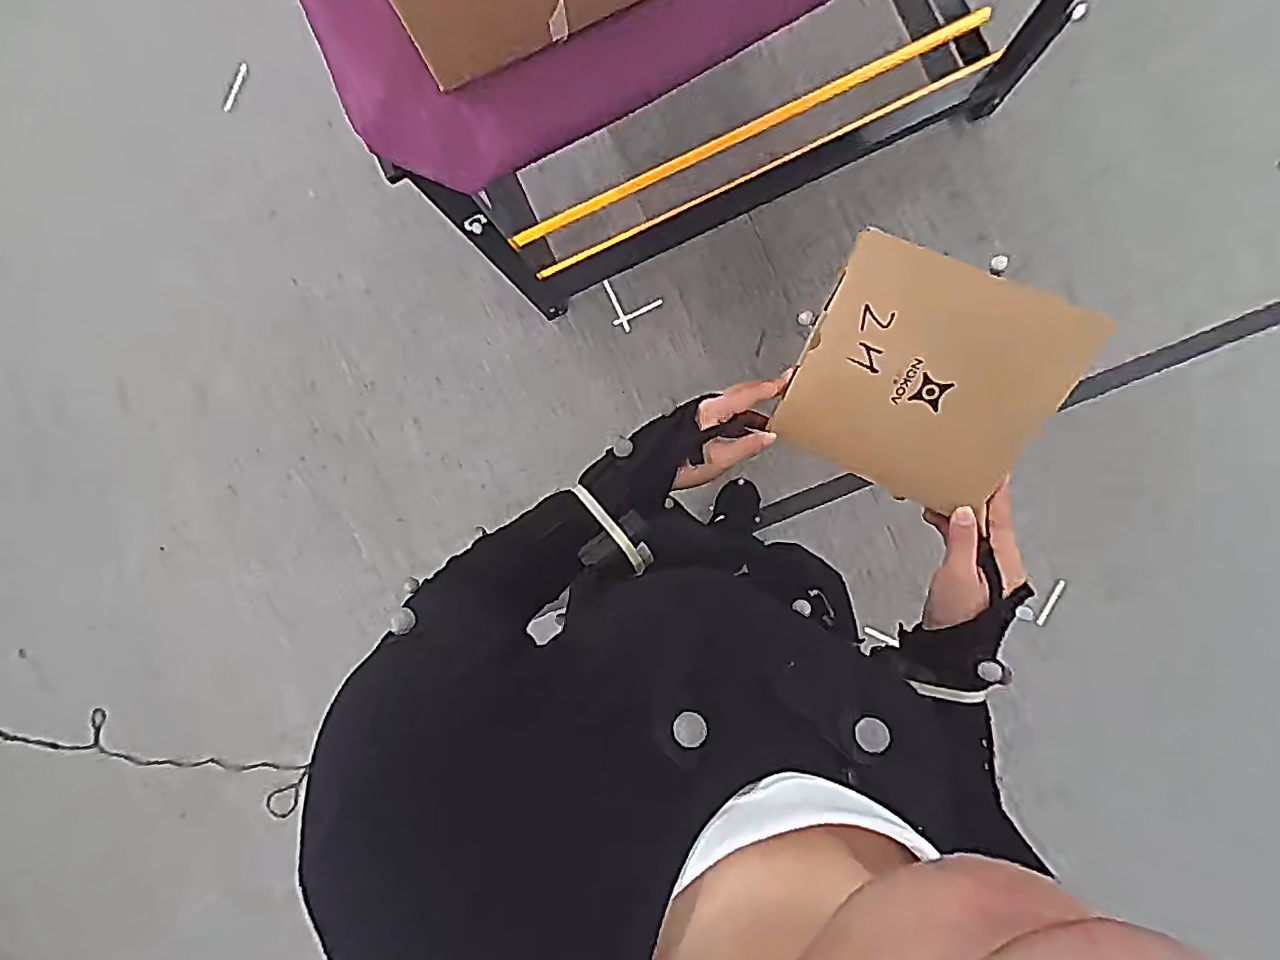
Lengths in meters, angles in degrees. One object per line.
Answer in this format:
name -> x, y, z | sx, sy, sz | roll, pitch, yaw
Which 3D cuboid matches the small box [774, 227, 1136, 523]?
small box -> 0.237, -0.099, 0.458 | 0.179, 0.176, 0.168 | 27, 118, 8
